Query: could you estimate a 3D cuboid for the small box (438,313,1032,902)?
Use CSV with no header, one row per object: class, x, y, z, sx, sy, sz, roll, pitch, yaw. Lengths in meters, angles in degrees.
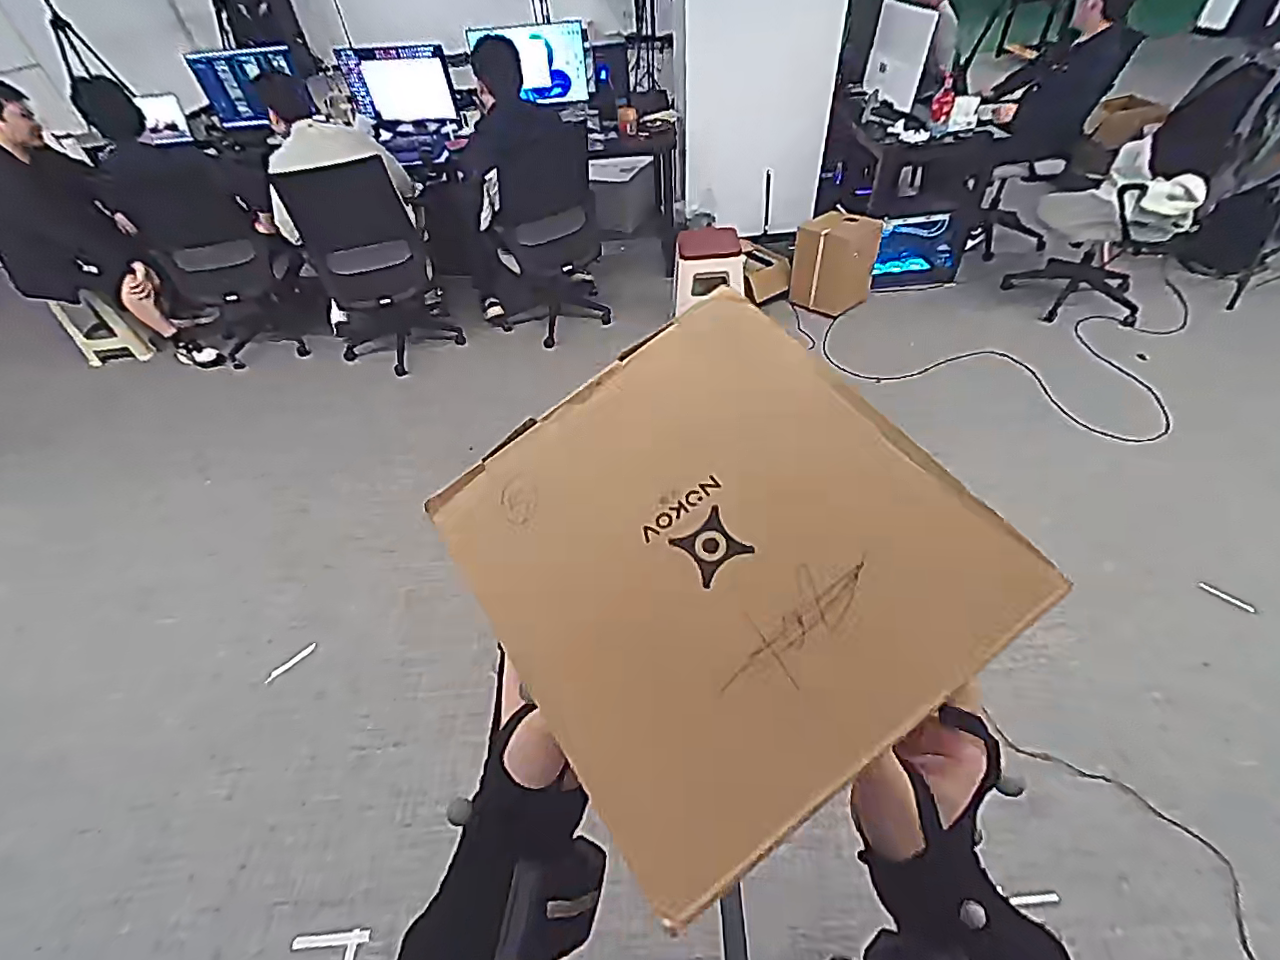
small box,0.036,0.058,0.285,0.168,0.176,0.179,-38,66,-5
